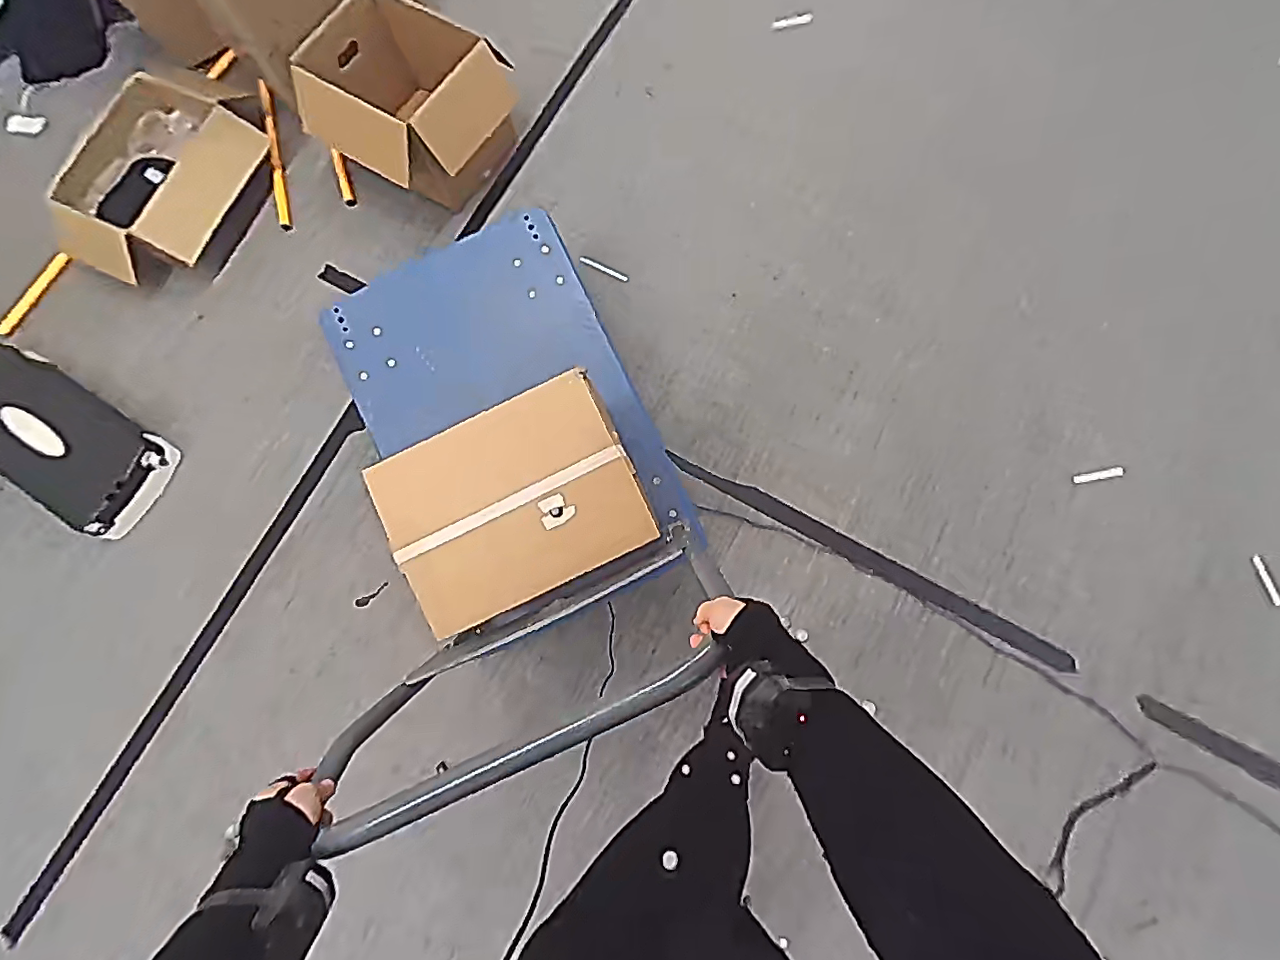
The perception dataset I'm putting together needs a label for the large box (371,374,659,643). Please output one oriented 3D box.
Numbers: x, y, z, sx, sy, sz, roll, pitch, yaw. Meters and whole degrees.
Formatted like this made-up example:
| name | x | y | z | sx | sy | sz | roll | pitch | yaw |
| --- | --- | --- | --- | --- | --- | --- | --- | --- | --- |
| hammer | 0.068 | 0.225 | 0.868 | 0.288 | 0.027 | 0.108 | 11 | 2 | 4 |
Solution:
| name | x | y | z | sx | sy | sz | roll | pitch | yaw |
| --- | --- | --- | --- | --- | --- | --- | --- | --- | --- |
| large box | -0.207 | 0.056 | 1.042 | 0.408 | 0.320 | 0.320 | -27 | 87 | -1 |
